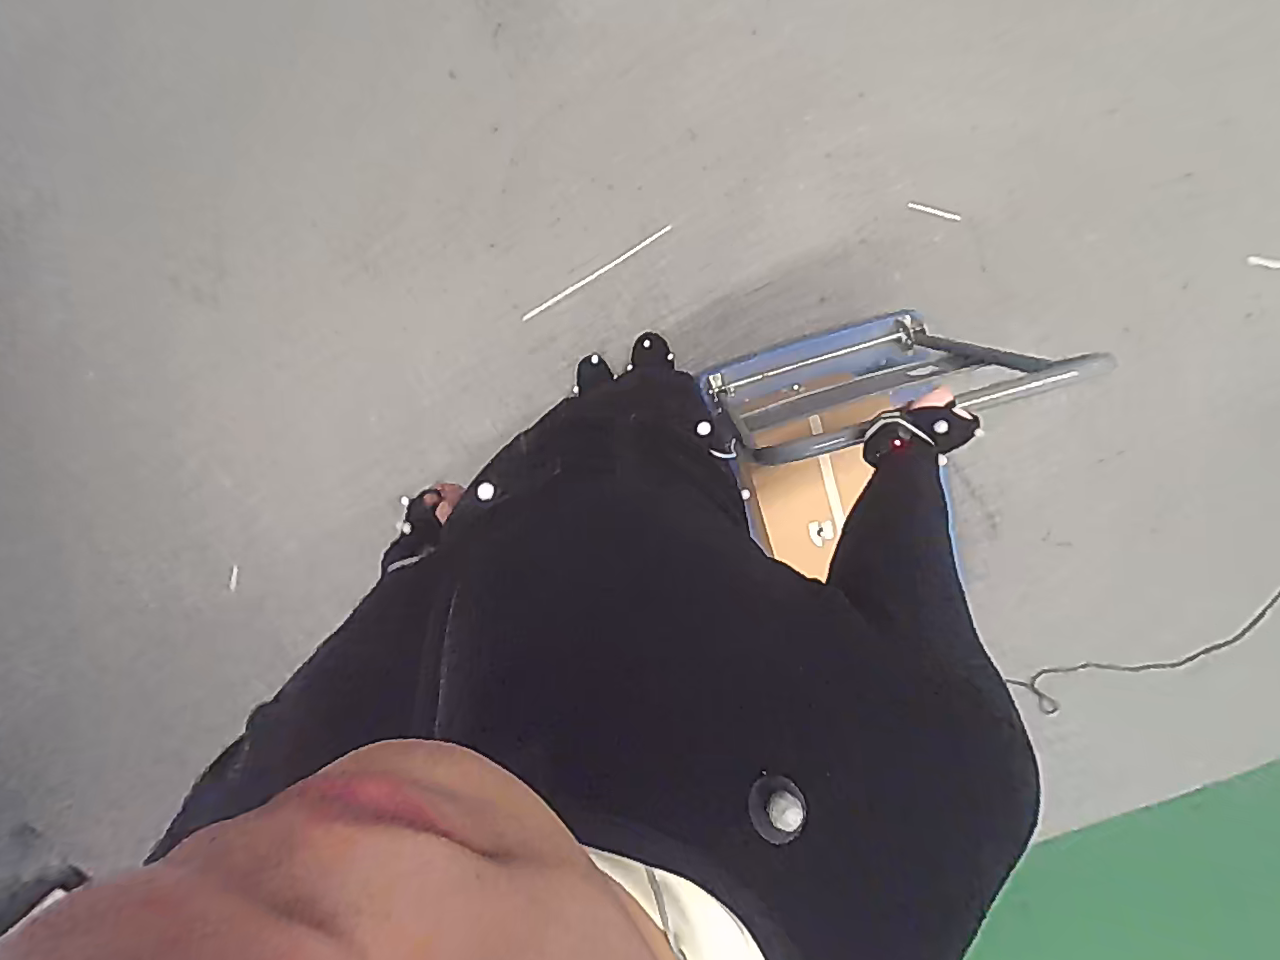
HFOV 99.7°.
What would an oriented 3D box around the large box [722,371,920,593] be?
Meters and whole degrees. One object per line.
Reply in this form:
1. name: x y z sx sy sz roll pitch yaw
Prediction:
1. large box: 0.414 -0.010 1.300 0.320 0.320 0.408 -17 106 7
